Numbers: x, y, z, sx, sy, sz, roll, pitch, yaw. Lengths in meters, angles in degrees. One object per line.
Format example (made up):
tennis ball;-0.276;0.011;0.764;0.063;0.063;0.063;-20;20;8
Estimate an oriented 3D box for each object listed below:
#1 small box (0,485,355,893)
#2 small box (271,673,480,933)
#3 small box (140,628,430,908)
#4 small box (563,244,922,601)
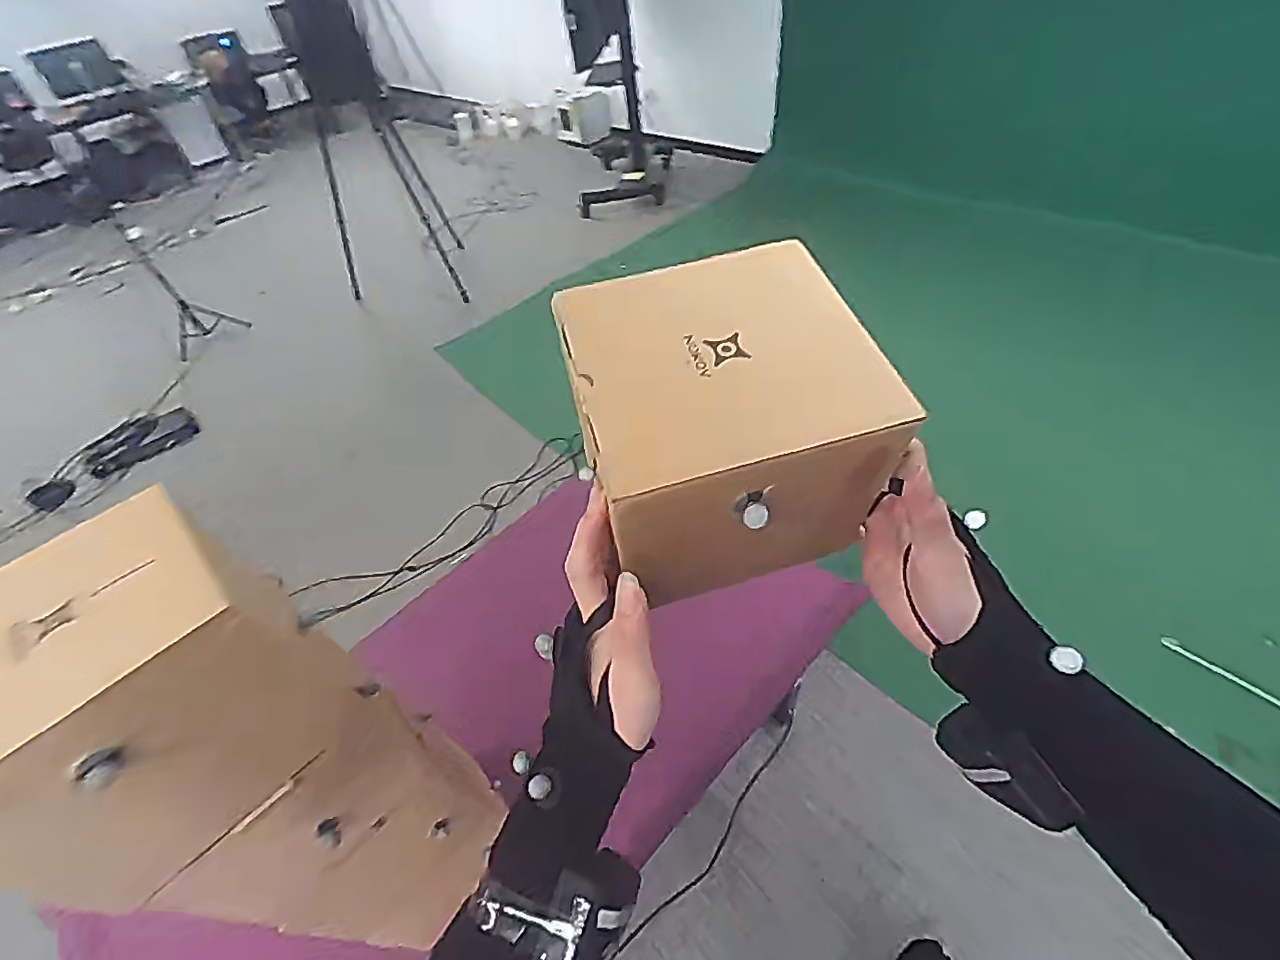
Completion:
small box;-0.348;0.143;0.381;0.168;0.176;0.179;32;58;33
small box;-0.305;0.366;0.618;0.168;0.176;0.179;33;61;33
small box;-0.330;0.253;0.503;0.179;0.176;0.168;32;59;32
small box;0.056;-0.033;0.392;0.179;0.176;0.168;-15;57;-4
